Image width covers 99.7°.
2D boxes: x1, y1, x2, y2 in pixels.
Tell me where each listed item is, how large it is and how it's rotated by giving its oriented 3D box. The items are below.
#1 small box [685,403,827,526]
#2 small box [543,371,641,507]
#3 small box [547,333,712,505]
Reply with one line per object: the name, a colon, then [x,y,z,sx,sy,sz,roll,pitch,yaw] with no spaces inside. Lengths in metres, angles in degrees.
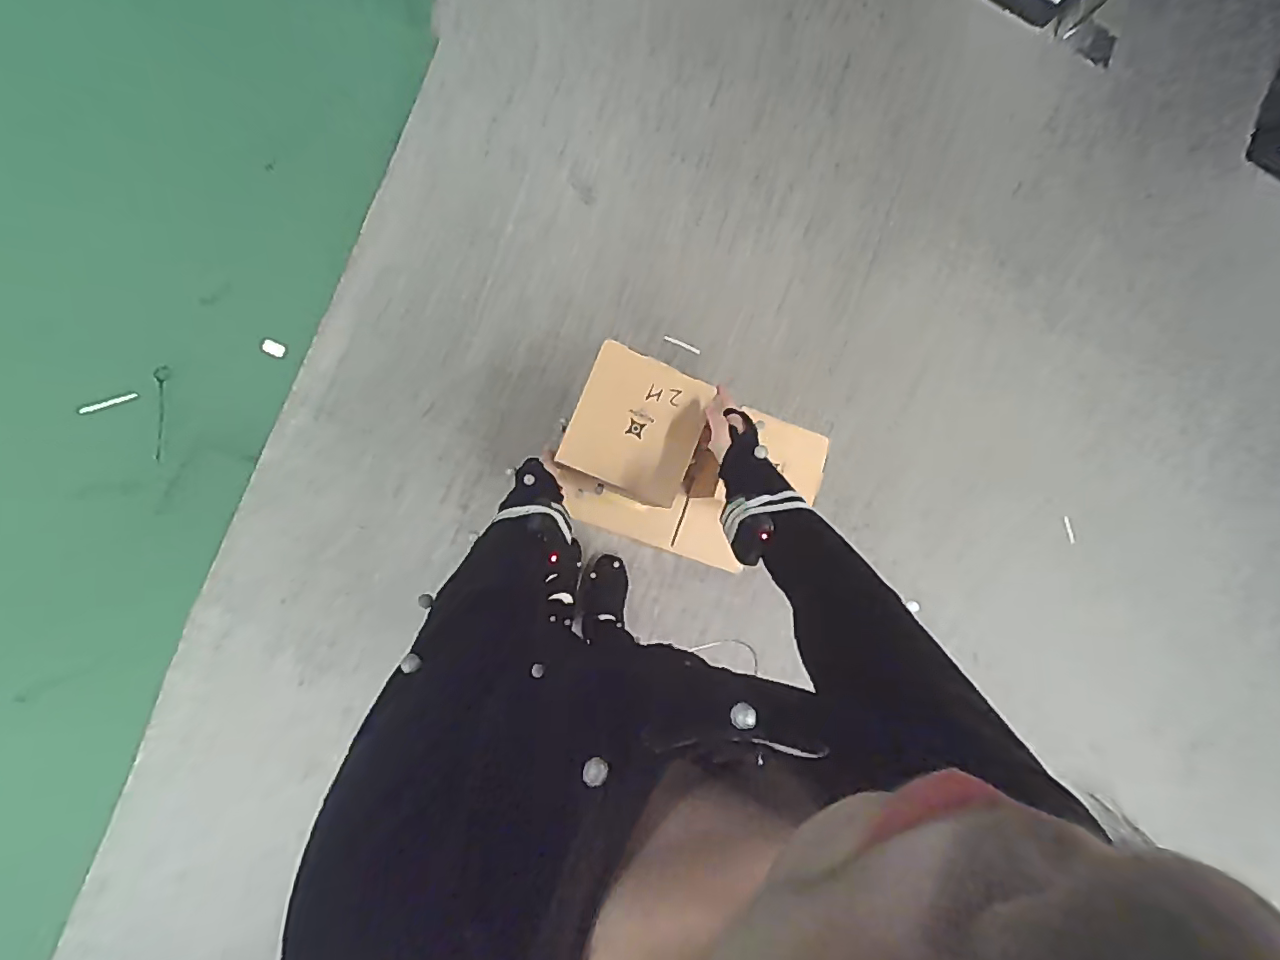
small box: [0.202,-0.026,0.988,0.179,0.176,0.168,20,85,-8]
small box: [-0.061,-0.065,0.936,0.168,0.176,0.179,22,86,-11]
small box: [-0.024,-0.078,0.775,0.168,0.176,0.179,24,85,-11]
